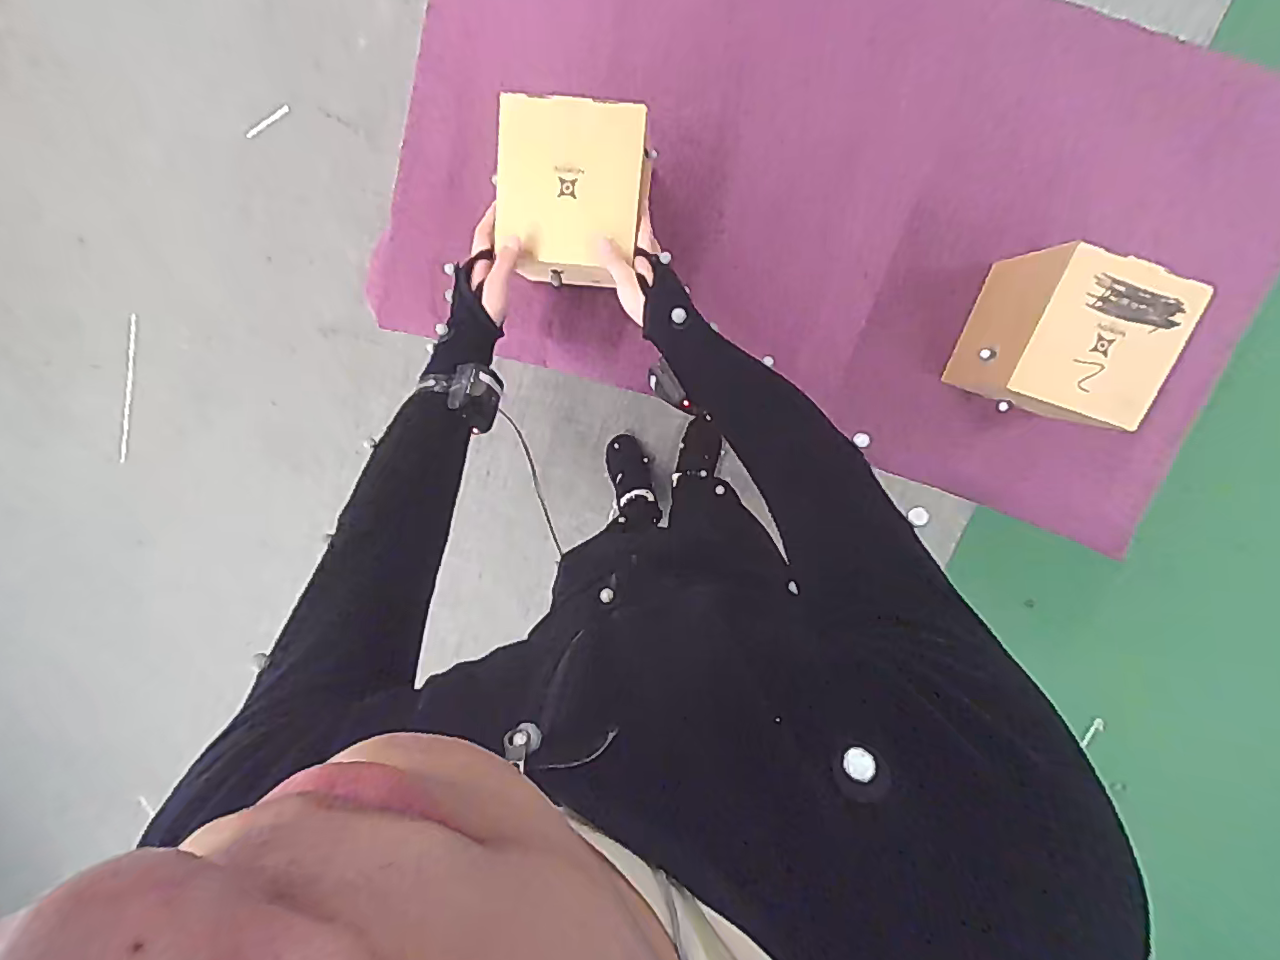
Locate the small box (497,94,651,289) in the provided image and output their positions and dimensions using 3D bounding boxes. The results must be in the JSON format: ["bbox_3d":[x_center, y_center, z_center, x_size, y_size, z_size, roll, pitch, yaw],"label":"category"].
[{"bbox_3d":[-0.075,-0.347,0.684,0.168,0.176,0.179,4,100,1],"label":"small box"}]
